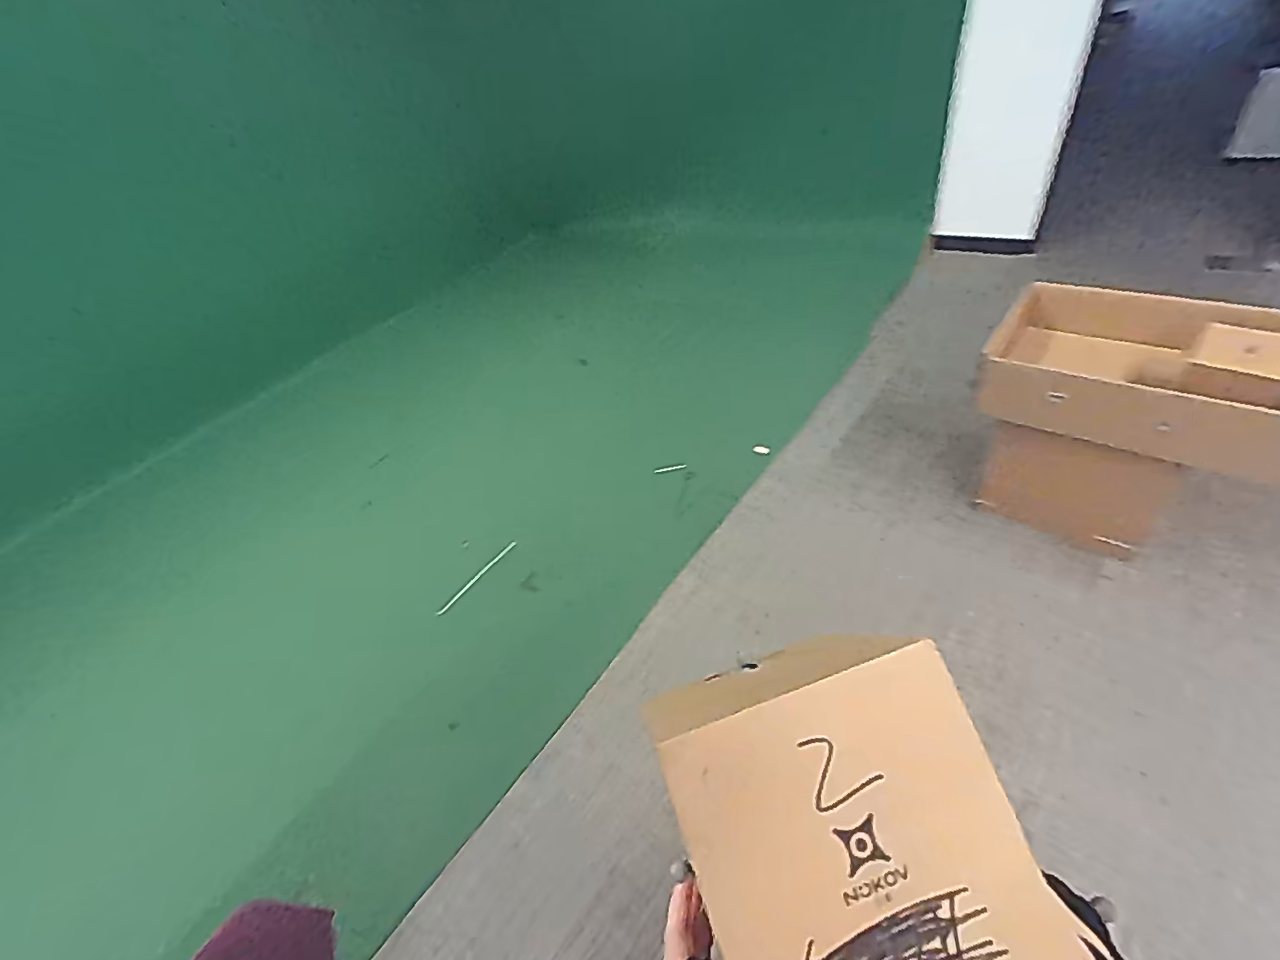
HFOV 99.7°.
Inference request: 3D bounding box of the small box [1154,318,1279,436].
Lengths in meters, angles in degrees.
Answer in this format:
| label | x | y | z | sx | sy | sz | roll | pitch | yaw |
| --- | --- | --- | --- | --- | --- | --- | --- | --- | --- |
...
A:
| label | x | y | z | sx | sy | sz | roll | pitch | yaw |
| --- | --- | --- | --- | --- | --- | --- | --- | --- | --- |
| small box | 1.299 | -0.229 | 1.201 | 0.179 | 0.176 | 0.168 | -40 | 47 | -23 |
